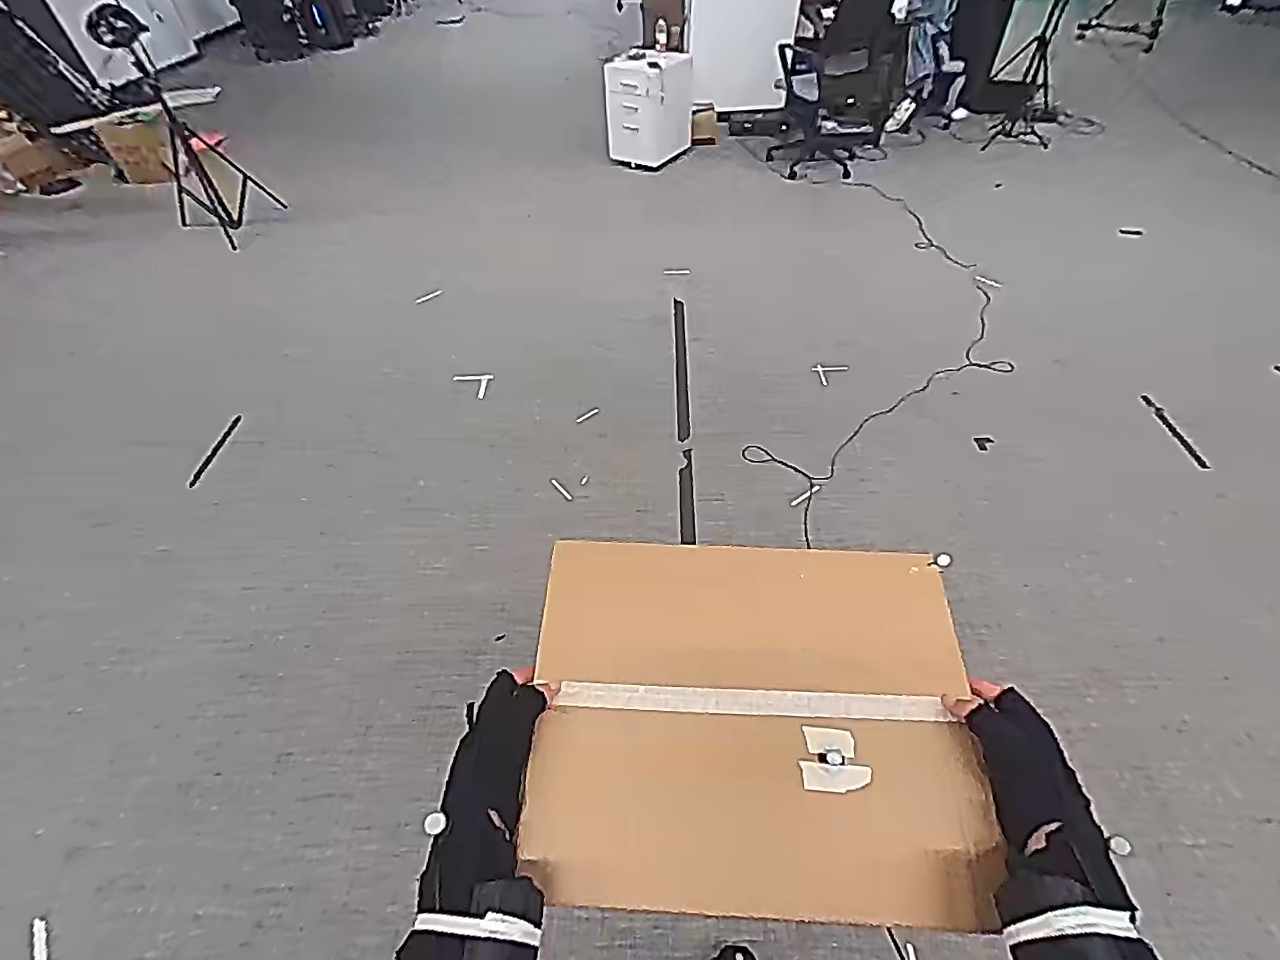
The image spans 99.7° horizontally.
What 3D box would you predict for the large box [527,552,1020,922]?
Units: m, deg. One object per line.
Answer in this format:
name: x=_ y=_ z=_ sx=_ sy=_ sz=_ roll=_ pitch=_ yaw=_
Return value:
large box: x=0.109 y=0.292 z=0.634 sx=0.408 sy=0.320 sz=0.320 roll=2 pitch=59 yaw=2
